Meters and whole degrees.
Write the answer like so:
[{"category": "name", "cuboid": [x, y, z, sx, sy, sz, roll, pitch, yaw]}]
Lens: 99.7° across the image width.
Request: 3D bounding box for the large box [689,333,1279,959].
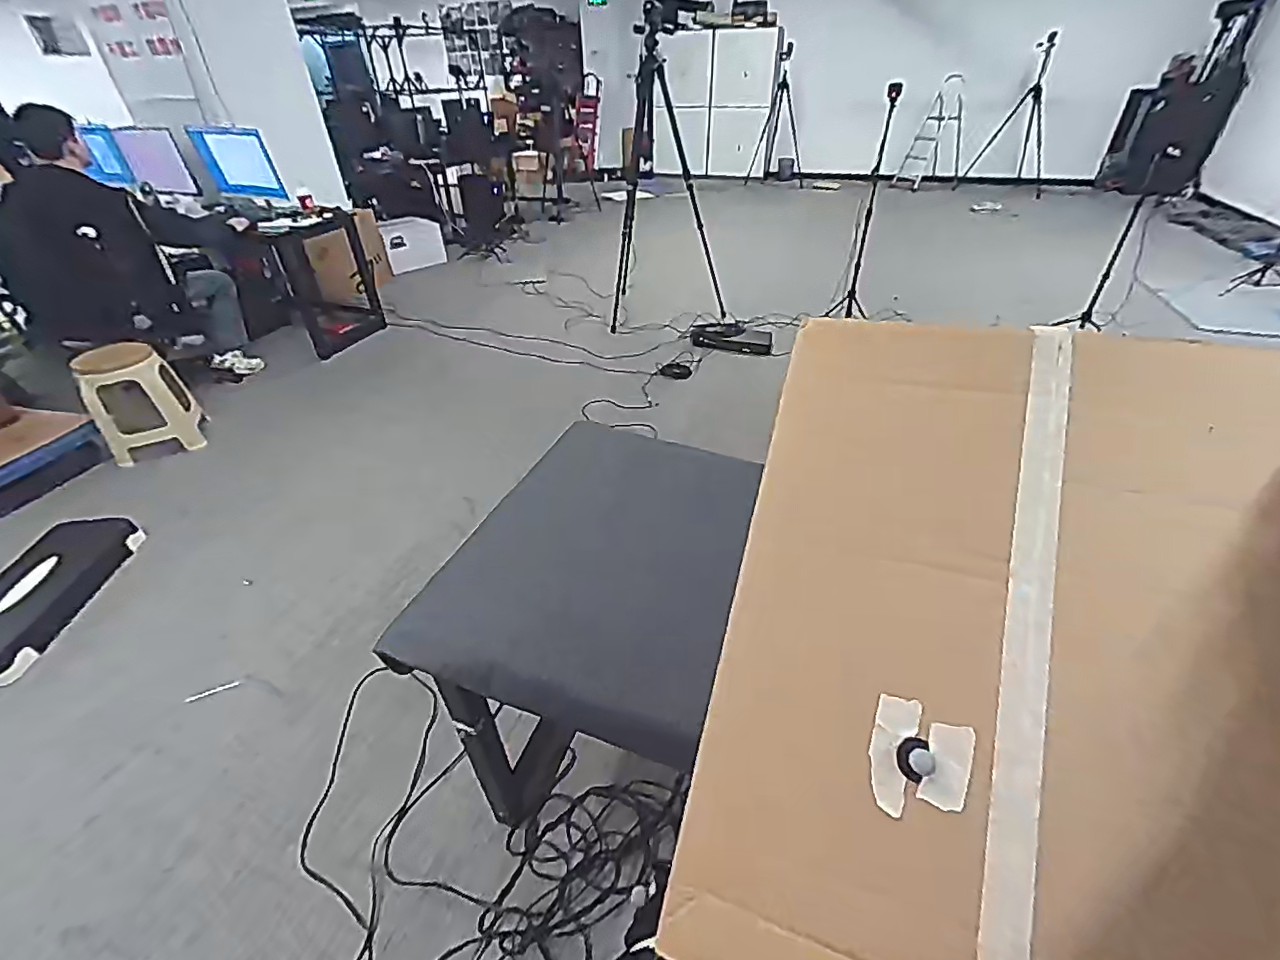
[{"category": "large box", "cuboid": [0.253, 0.144, 0.444, 0.320, 0.320, 0.408, 10, 75, 19]}]
